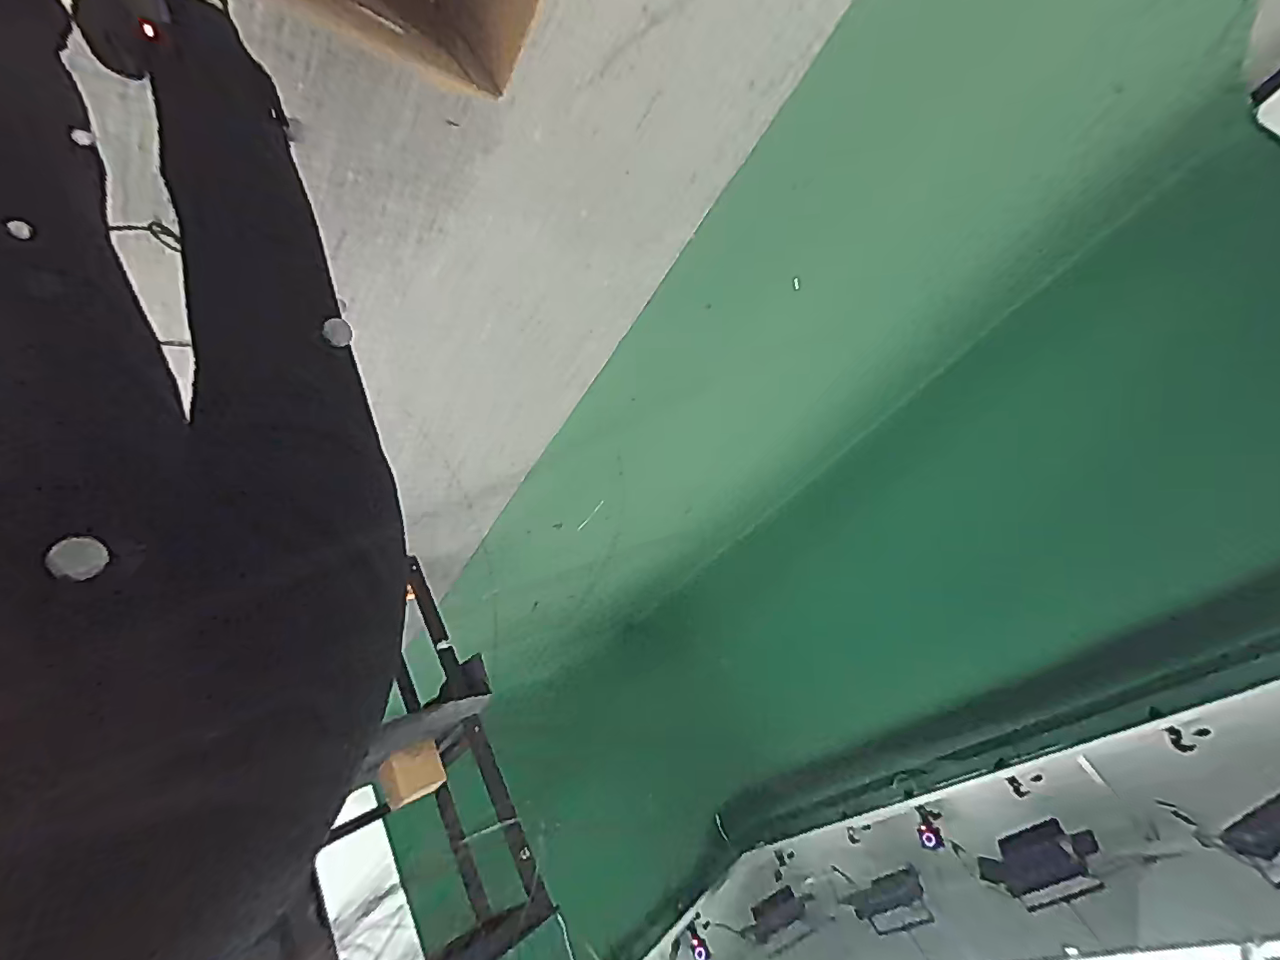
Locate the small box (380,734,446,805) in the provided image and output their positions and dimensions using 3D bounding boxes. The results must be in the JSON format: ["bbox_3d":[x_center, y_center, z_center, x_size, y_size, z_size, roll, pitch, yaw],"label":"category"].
[{"bbox_3d":[-0.878,1.105,2.077,0.168,0.176,0.179,-7,148,-46],"label":"small box"}]
